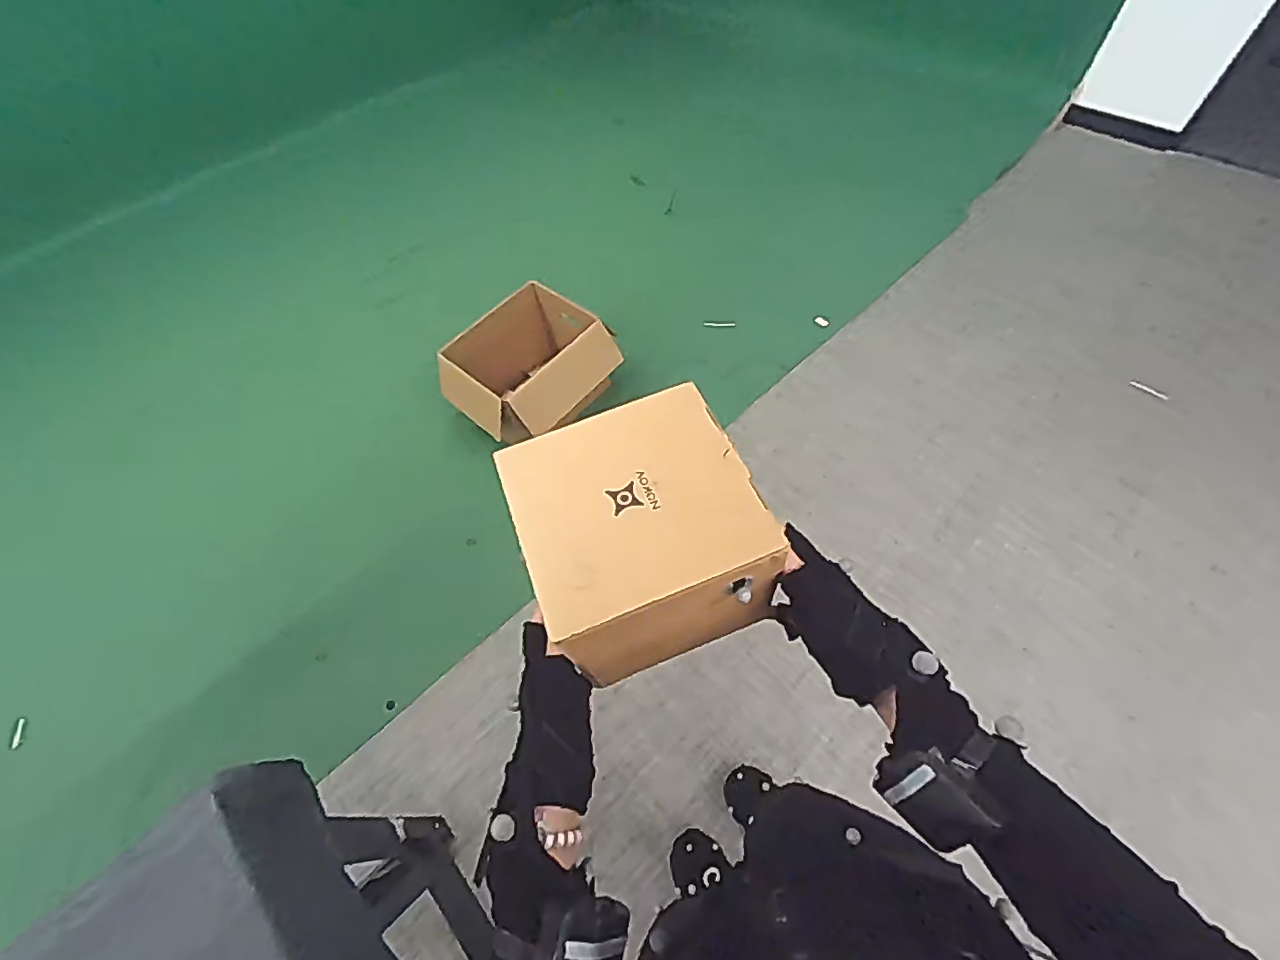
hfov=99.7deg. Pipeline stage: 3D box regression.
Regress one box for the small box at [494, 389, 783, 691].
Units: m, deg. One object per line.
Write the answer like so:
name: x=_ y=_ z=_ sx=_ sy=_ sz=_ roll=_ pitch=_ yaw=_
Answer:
small box: x=0.000 y=0.059 z=0.464 sx=0.179 sy=0.176 sz=0.168 roll=-22 pitch=59 yaw=-7
